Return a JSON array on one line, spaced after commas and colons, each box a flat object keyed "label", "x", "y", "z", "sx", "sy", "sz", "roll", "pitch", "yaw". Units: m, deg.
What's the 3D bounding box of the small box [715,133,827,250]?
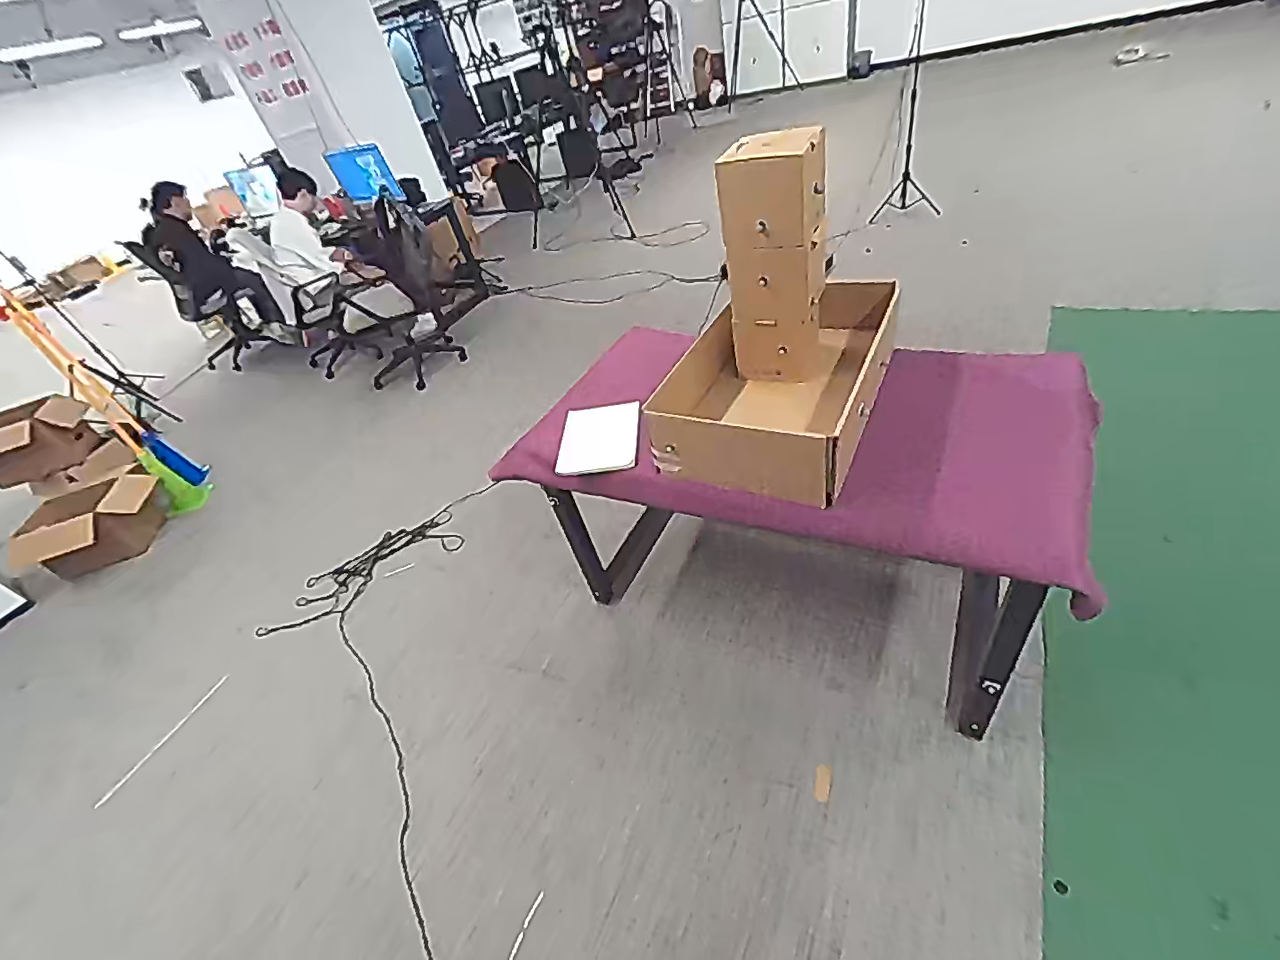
[{"label": "small box", "x": 0.273, "y": -0.588, "z": 1.113, "sx": 0.179, "sy": 0.176, "sz": 0.168, "roll": 13, "pitch": 48, "yaw": 28}]

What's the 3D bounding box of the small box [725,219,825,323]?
[{"label": "small box", "x": 0.308, "y": -0.466, "z": 1.217, "sx": 0.179, "sy": 0.176, "sz": 0.168, "roll": 10, "pitch": 47, "yaw": 27}]
